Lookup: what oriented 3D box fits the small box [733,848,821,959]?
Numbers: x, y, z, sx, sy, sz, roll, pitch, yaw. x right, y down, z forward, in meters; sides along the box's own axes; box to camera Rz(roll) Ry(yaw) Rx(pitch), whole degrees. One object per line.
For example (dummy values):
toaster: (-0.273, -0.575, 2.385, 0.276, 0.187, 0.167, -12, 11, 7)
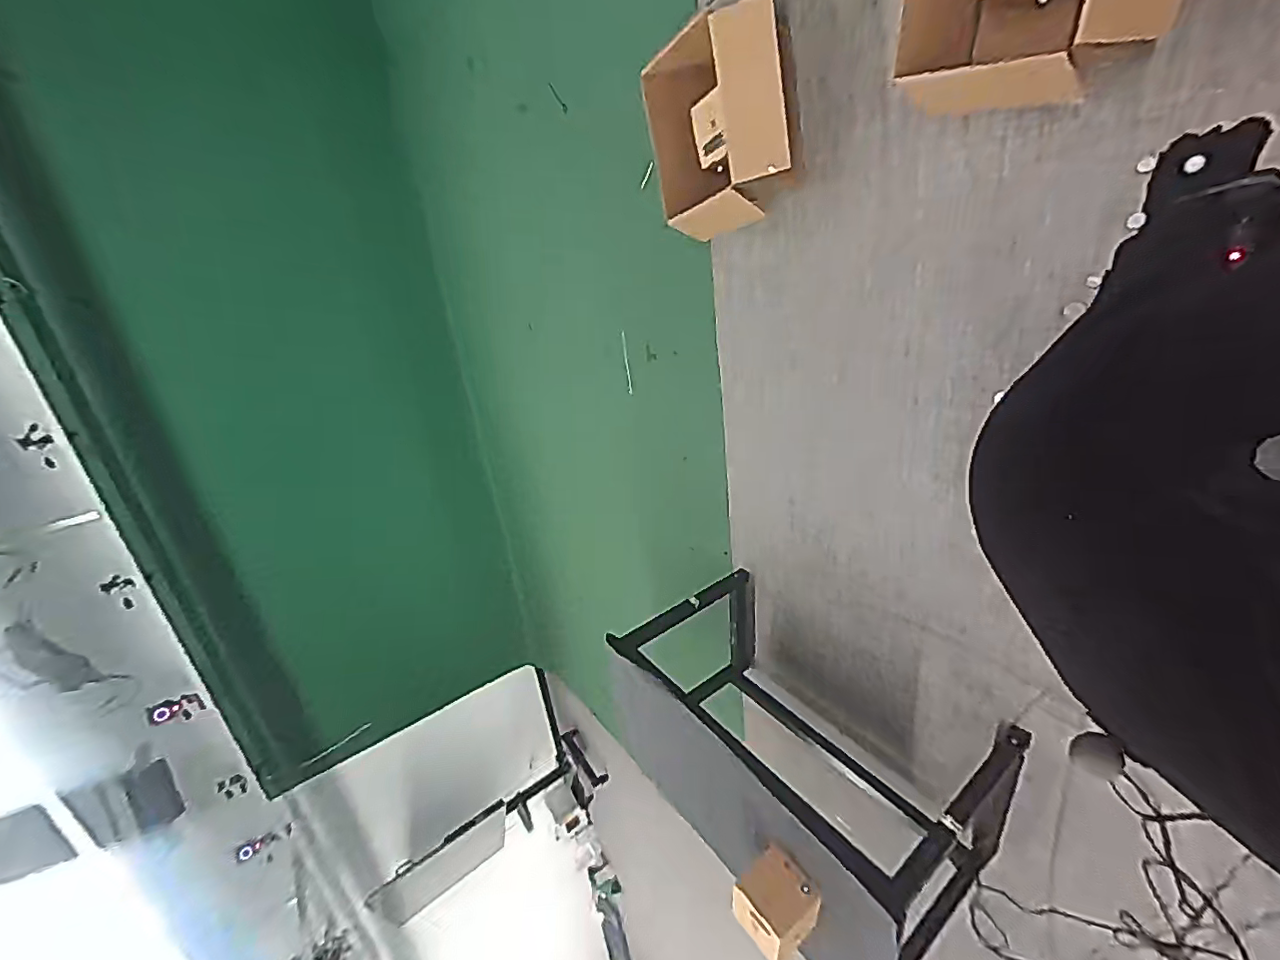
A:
small box: (0.376, 1.166, 1.483, 0.168, 0.176, 0.179, 31, 134, 46)
